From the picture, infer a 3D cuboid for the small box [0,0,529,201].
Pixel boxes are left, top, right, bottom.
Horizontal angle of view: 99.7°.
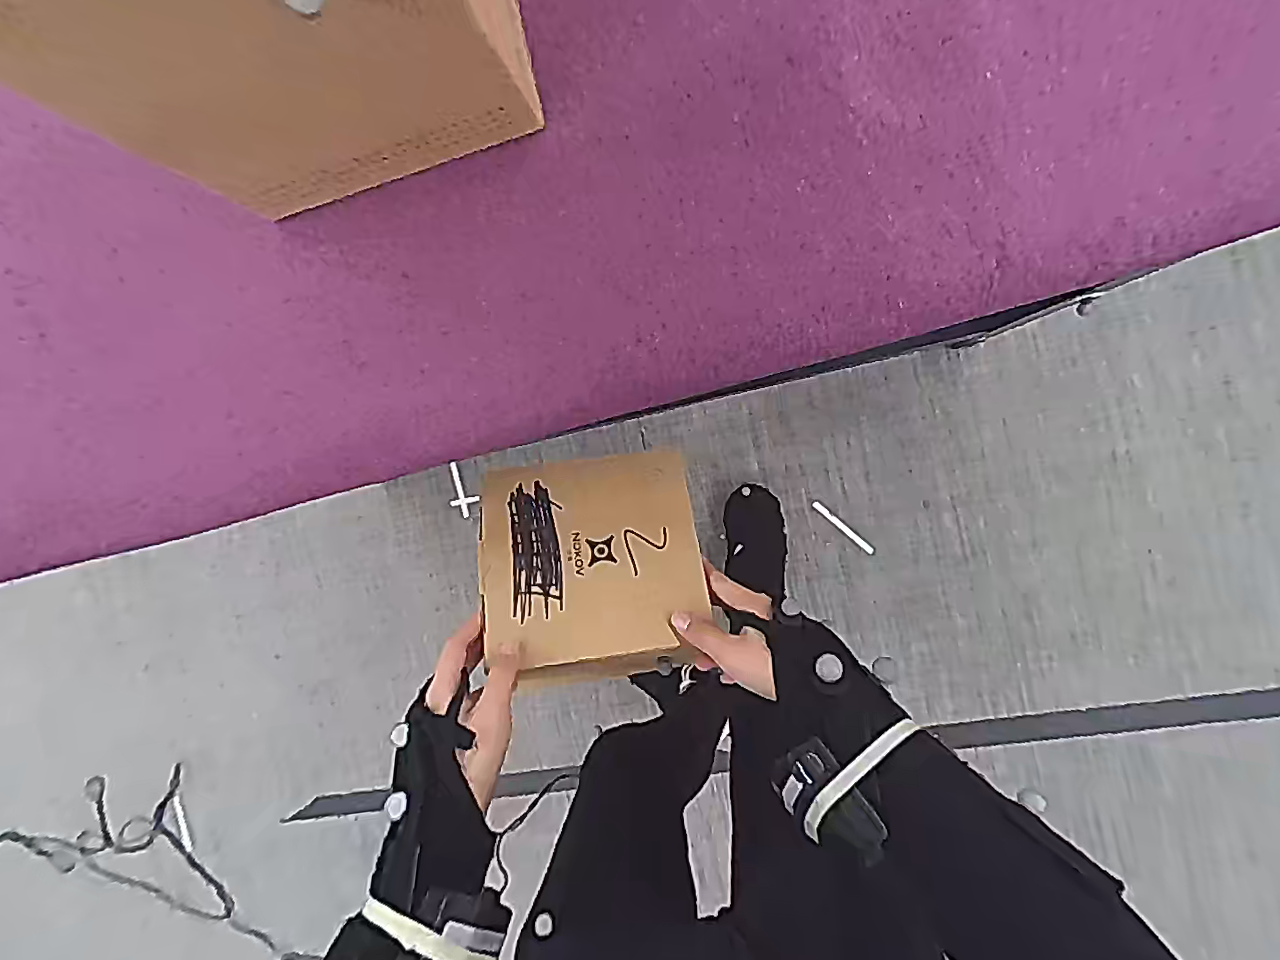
[{"bbox_3d":[-0.159,-0.251,0.225,0.179,0.176,0.168,-12,91,9],"label":"small box"}]
